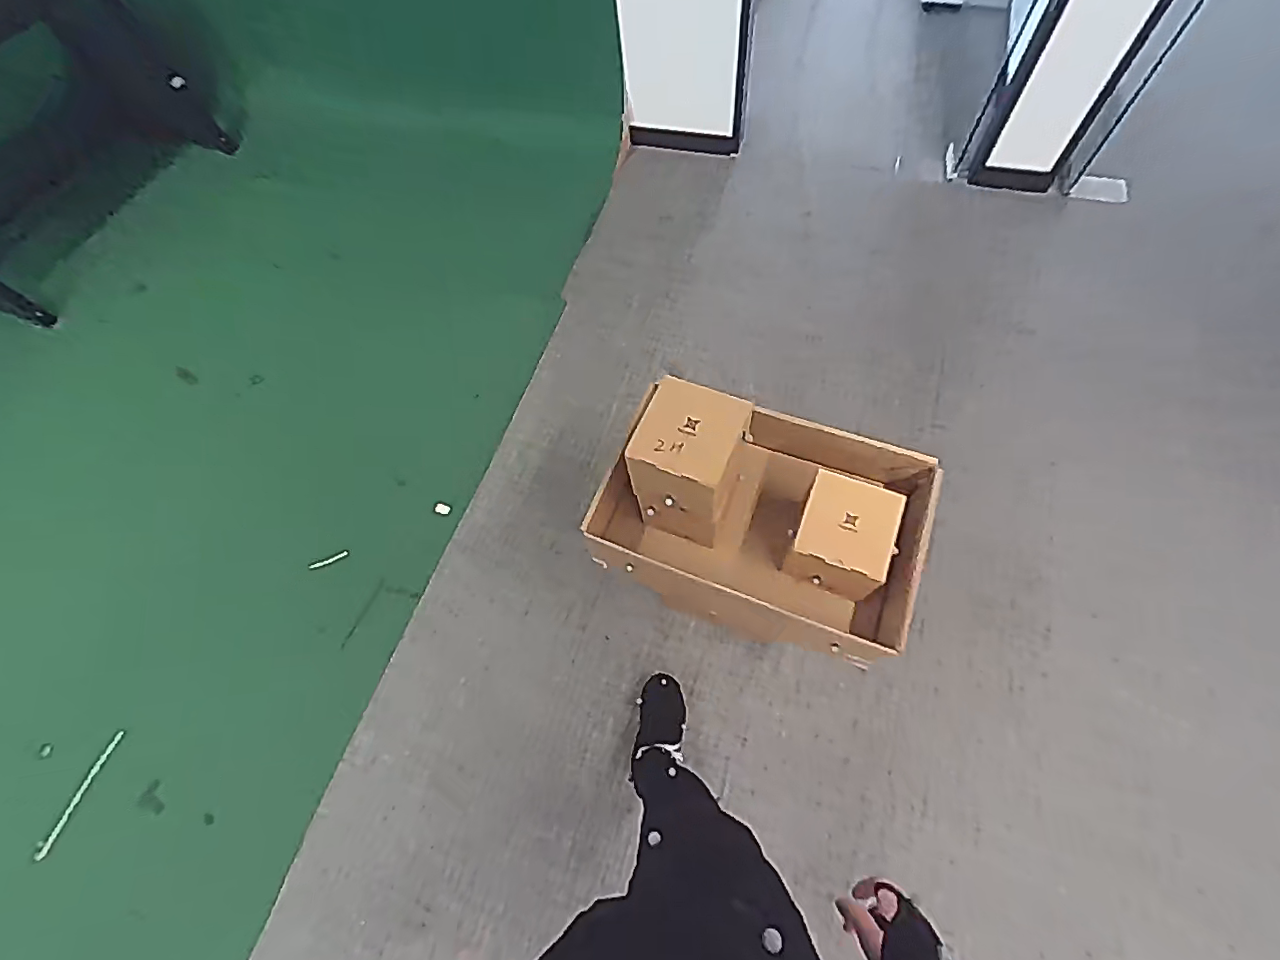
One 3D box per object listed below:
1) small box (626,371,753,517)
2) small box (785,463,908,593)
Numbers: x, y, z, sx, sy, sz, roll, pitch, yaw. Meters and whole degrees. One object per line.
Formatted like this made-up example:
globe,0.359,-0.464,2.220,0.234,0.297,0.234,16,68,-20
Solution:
small box,0.091,-0.059,0.975,0.168,0.176,0.179,20,70,16
small box,0.393,0.098,1.052,0.168,0.176,0.179,19,70,14
